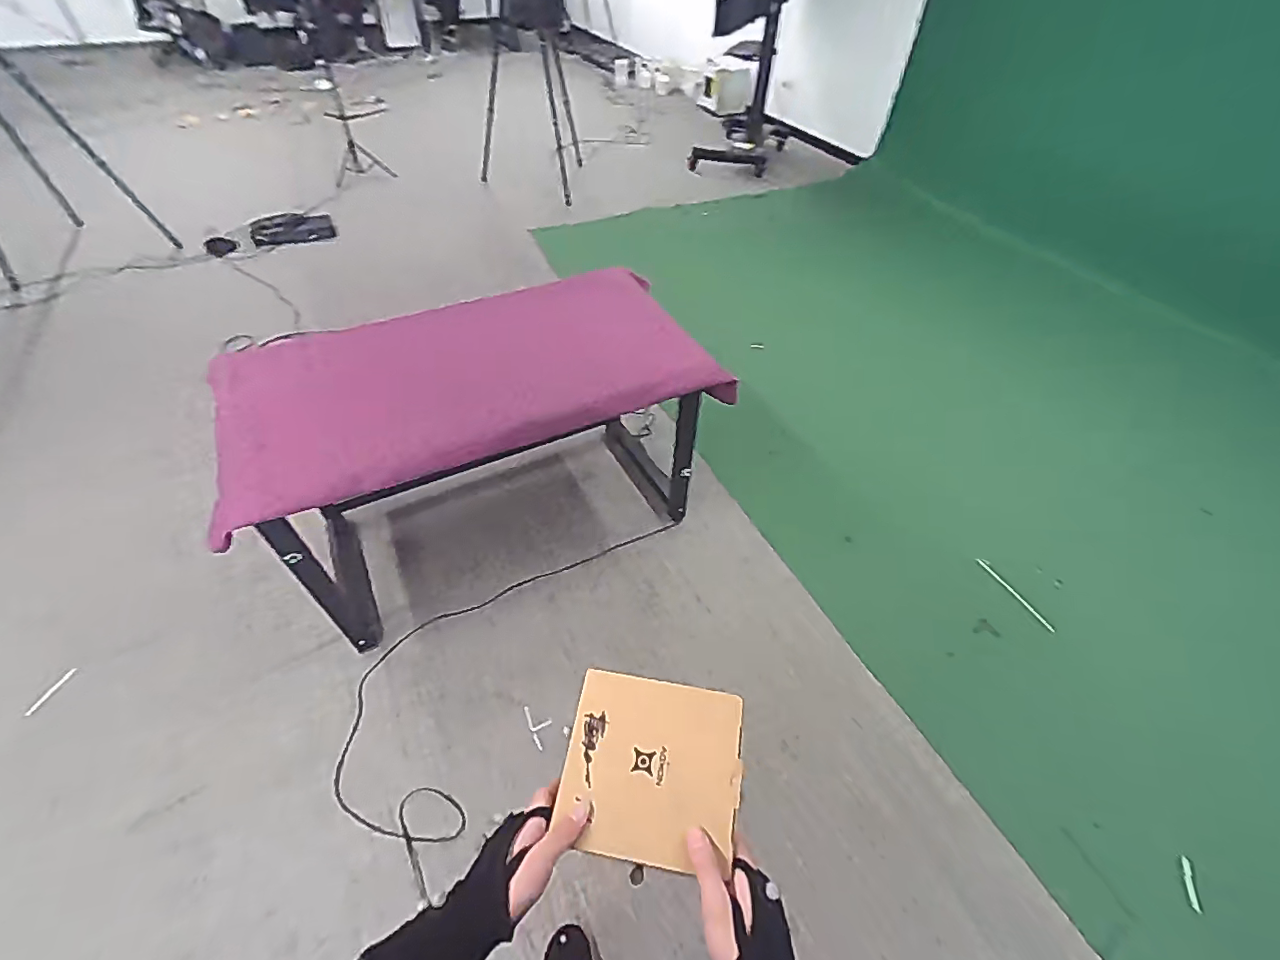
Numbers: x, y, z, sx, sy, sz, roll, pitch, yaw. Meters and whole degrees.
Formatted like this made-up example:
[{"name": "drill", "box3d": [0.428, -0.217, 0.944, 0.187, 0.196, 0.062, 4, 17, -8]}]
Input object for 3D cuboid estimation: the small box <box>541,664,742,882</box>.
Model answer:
[{"name": "small box", "box3d": [0.007, 0.327, 0.602, 0.179, 0.176, 0.168, 9, 54, 6]}]
